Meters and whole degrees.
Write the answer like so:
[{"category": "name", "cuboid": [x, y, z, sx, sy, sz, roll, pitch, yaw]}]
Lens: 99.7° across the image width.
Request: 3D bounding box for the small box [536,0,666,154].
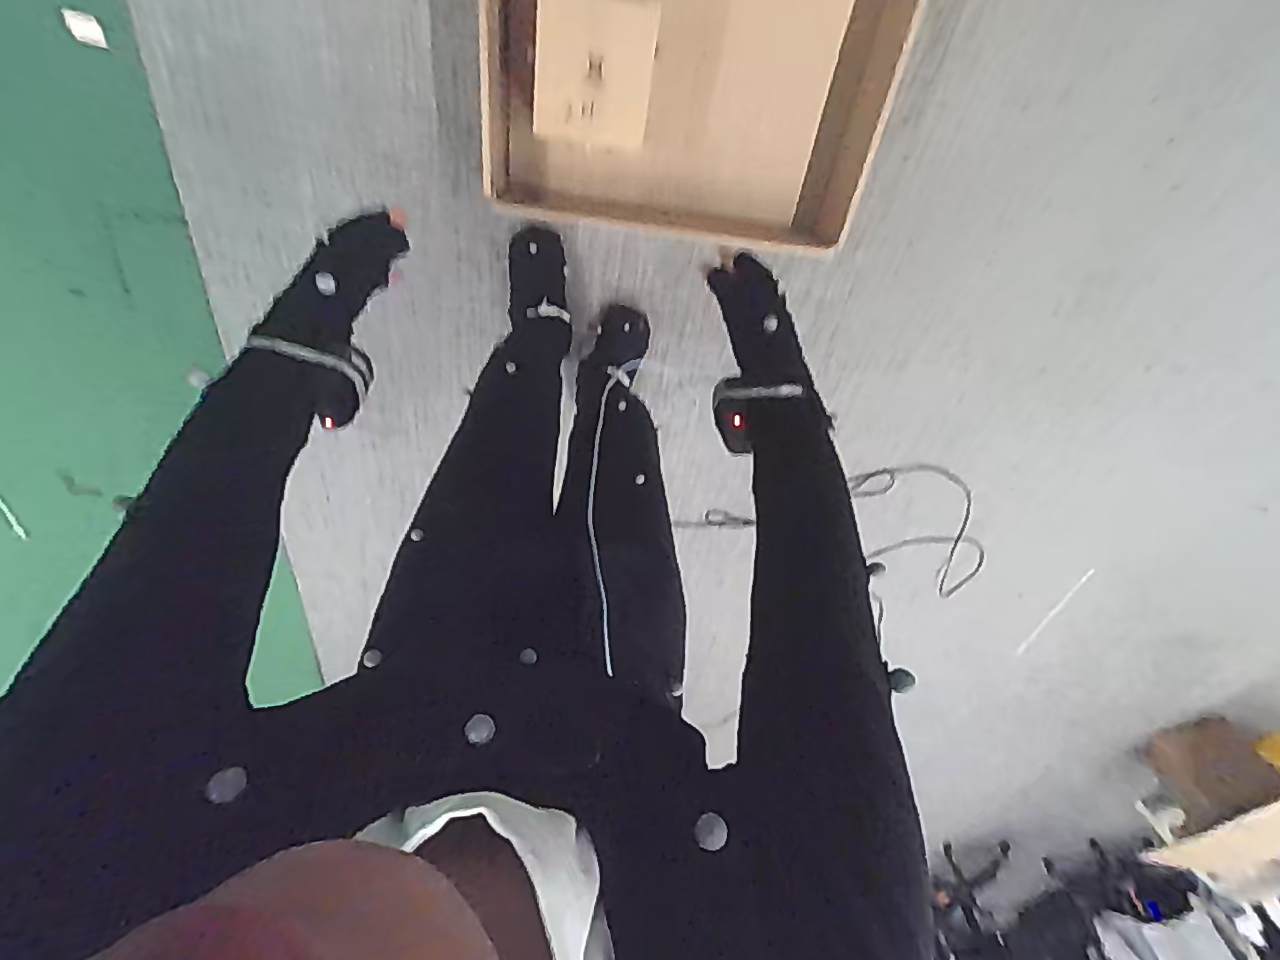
[{"category": "small box", "cuboid": [-0.064, -0.620, 0.825, 0.168, 0.176, 0.179, 6, 125, -8]}]
